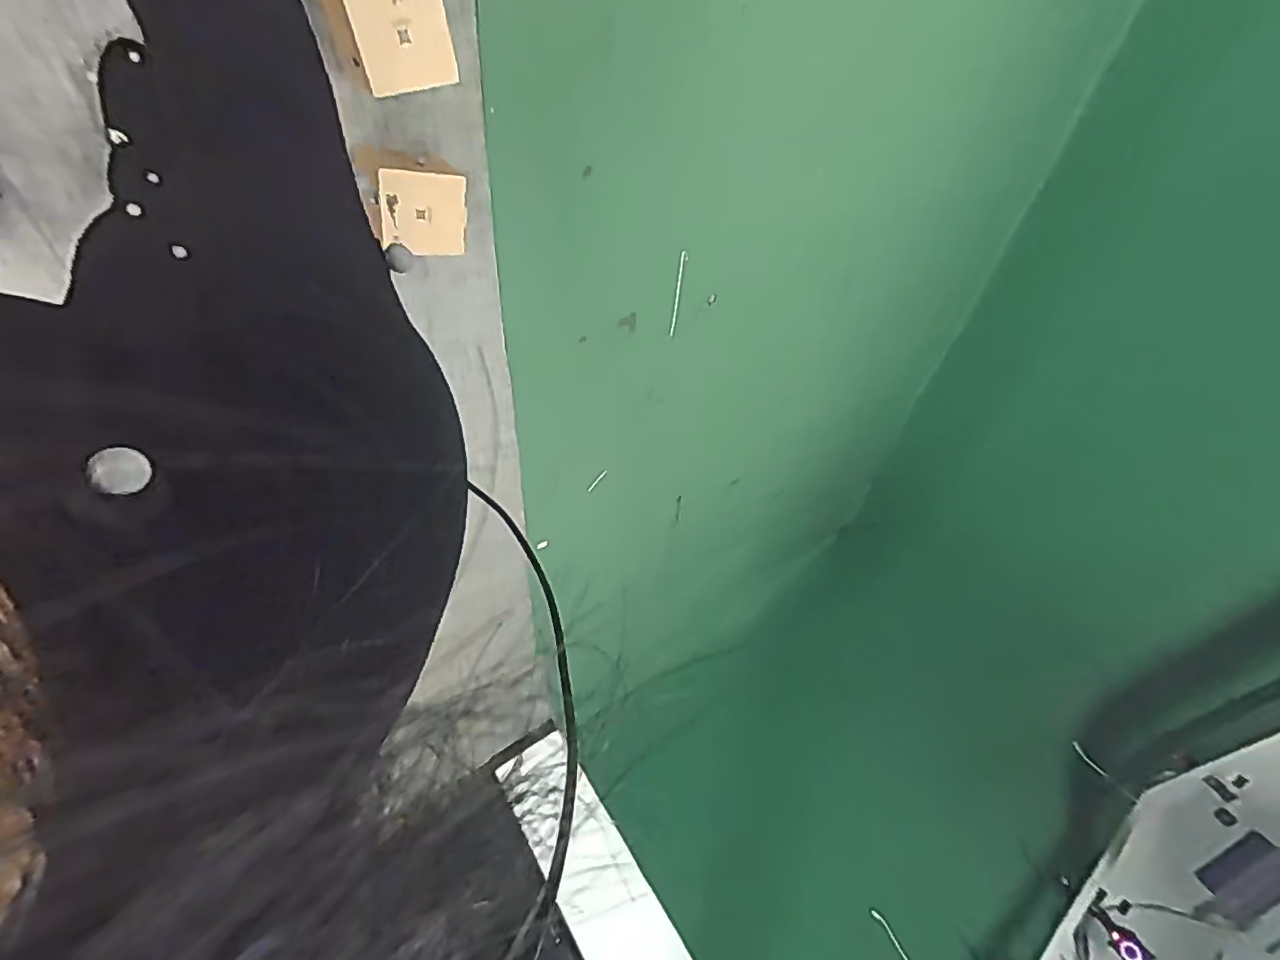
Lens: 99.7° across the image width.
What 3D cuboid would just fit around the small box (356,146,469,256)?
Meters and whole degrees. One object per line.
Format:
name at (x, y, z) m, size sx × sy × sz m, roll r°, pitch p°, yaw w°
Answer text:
small box at (-0.489, -0.599, 1.164) m, size 0.179 × 0.176 × 0.168 m, roll -16°, pitch 139°, yaw -35°

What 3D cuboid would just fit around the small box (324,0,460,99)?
small box at (-0.448, -0.816, 0.966) m, size 0.168 × 0.176 × 0.179 m, roll -28°, pitch 144°, yaw -22°
